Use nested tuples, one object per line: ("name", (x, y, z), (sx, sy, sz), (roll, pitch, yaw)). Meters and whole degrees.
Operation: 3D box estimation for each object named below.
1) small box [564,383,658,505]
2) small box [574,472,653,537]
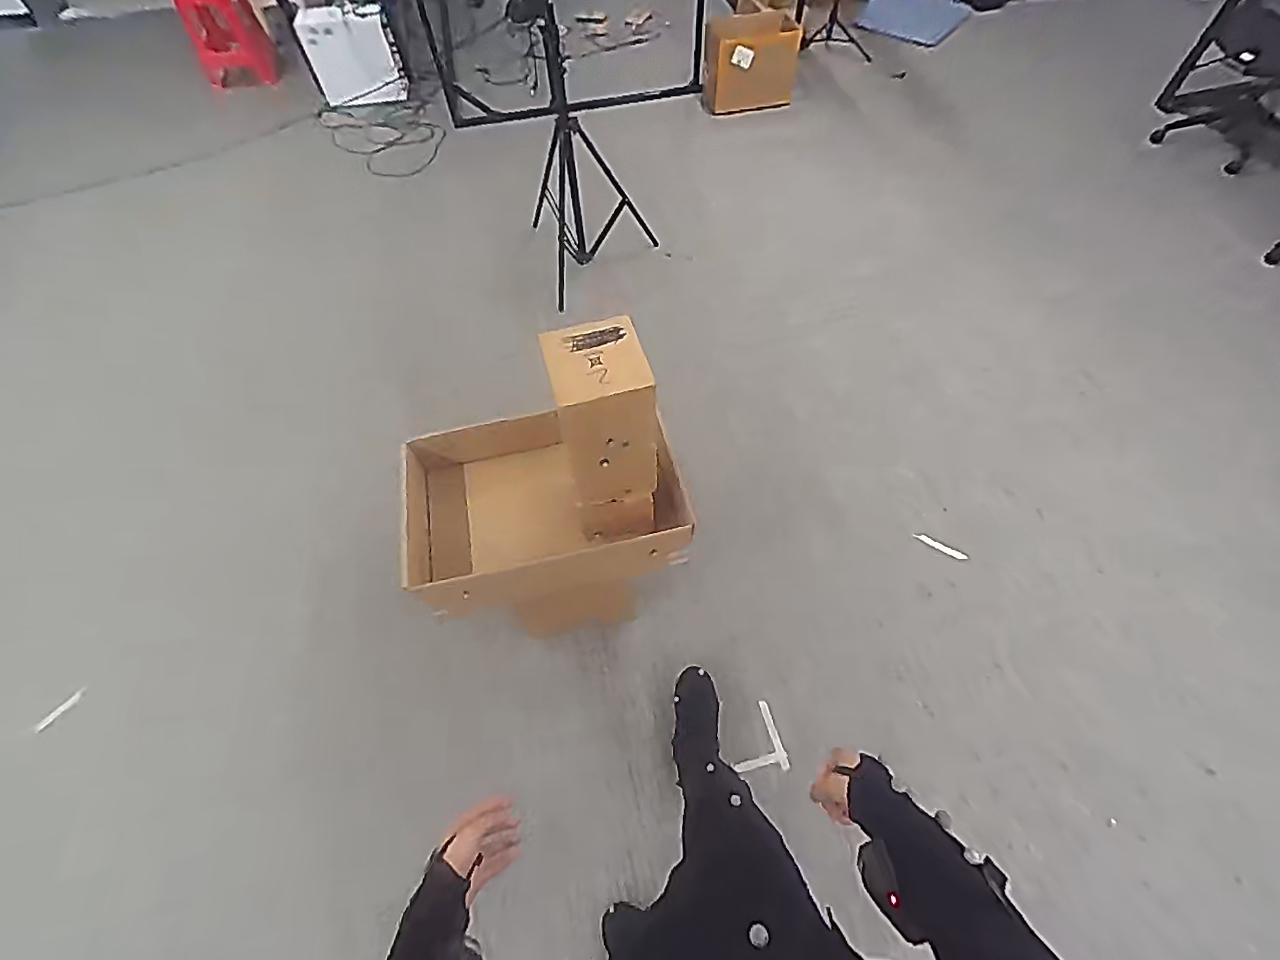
("small box", (-0.058, -0.072, 1.116), (0.168, 0.176, 0.179), (-10, 58, -4))
("small box", (-0.060, 0.022, 1.250), (0.168, 0.176, 0.179), (-6, 58, -3))
